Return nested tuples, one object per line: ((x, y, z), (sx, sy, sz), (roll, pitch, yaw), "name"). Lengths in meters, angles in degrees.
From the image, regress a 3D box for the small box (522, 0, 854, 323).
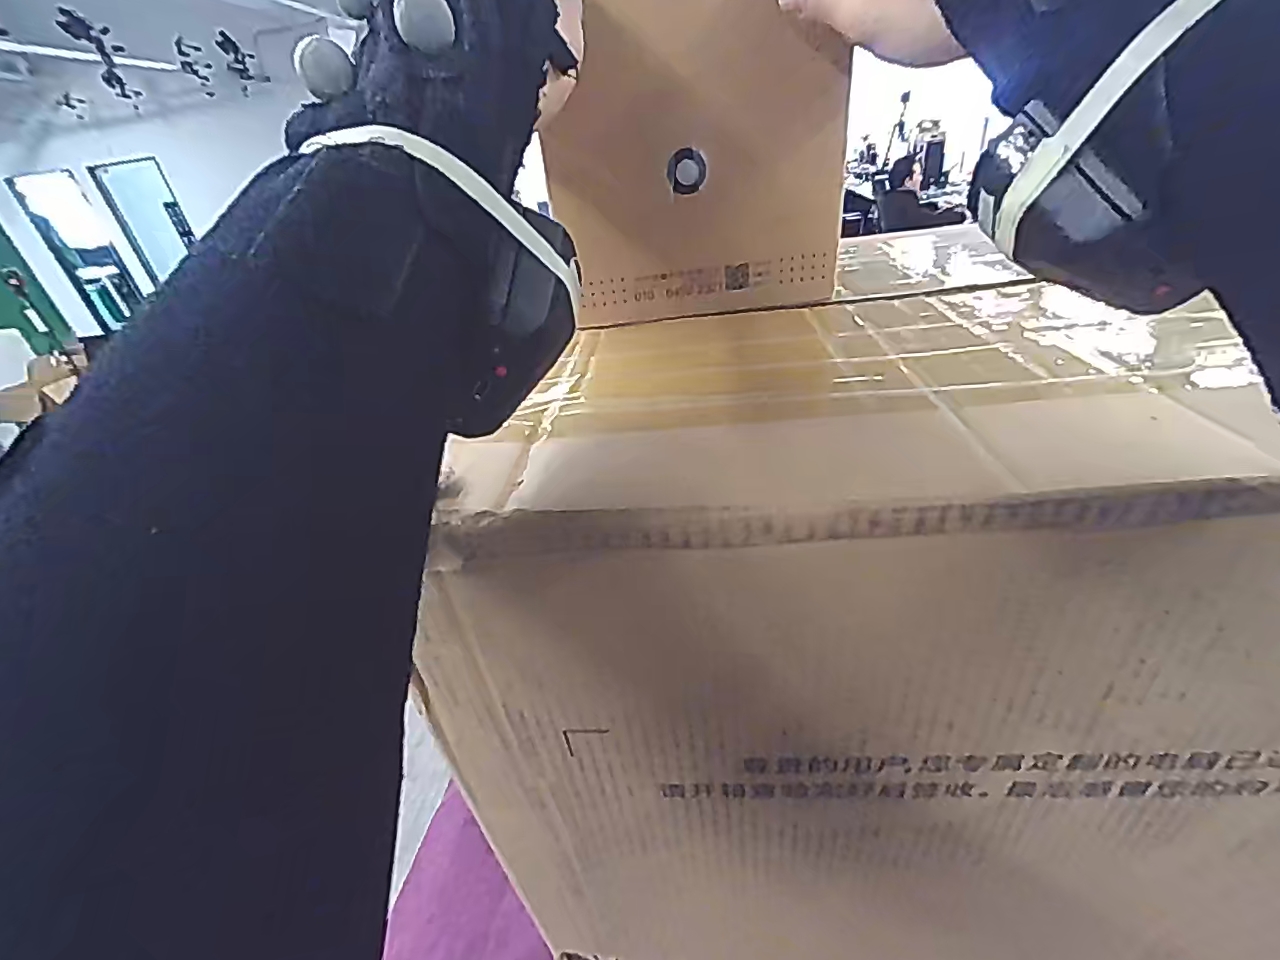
((0.031, -0.210, 0.365), (0.168, 0.176, 0.179), (-5, 33, 2), "small box")
